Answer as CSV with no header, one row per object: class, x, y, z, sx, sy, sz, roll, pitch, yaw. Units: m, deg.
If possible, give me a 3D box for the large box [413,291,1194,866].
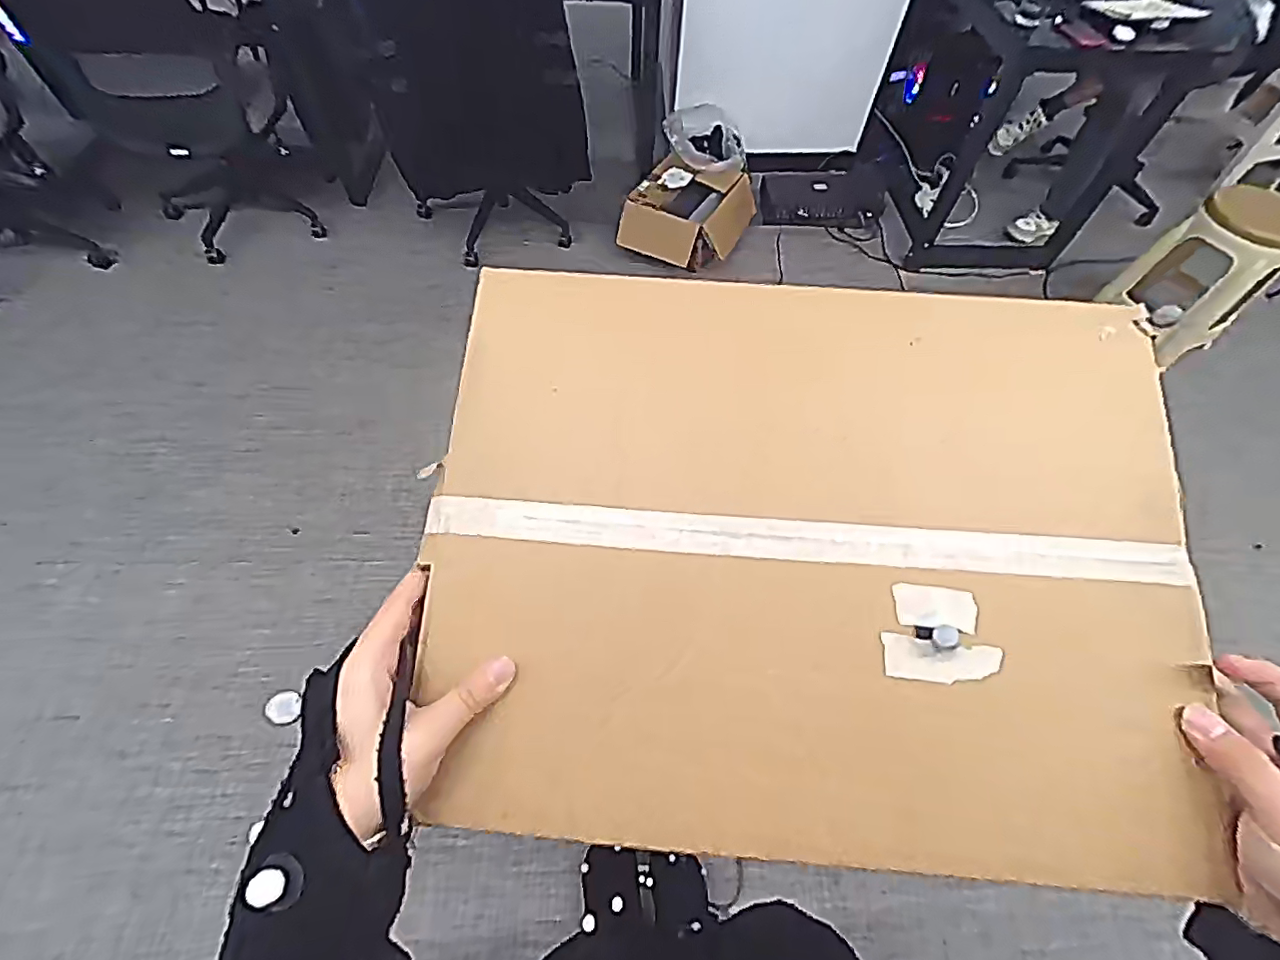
large box,0.088,0.071,0.453,0.408,0.320,0.320,4,77,2
